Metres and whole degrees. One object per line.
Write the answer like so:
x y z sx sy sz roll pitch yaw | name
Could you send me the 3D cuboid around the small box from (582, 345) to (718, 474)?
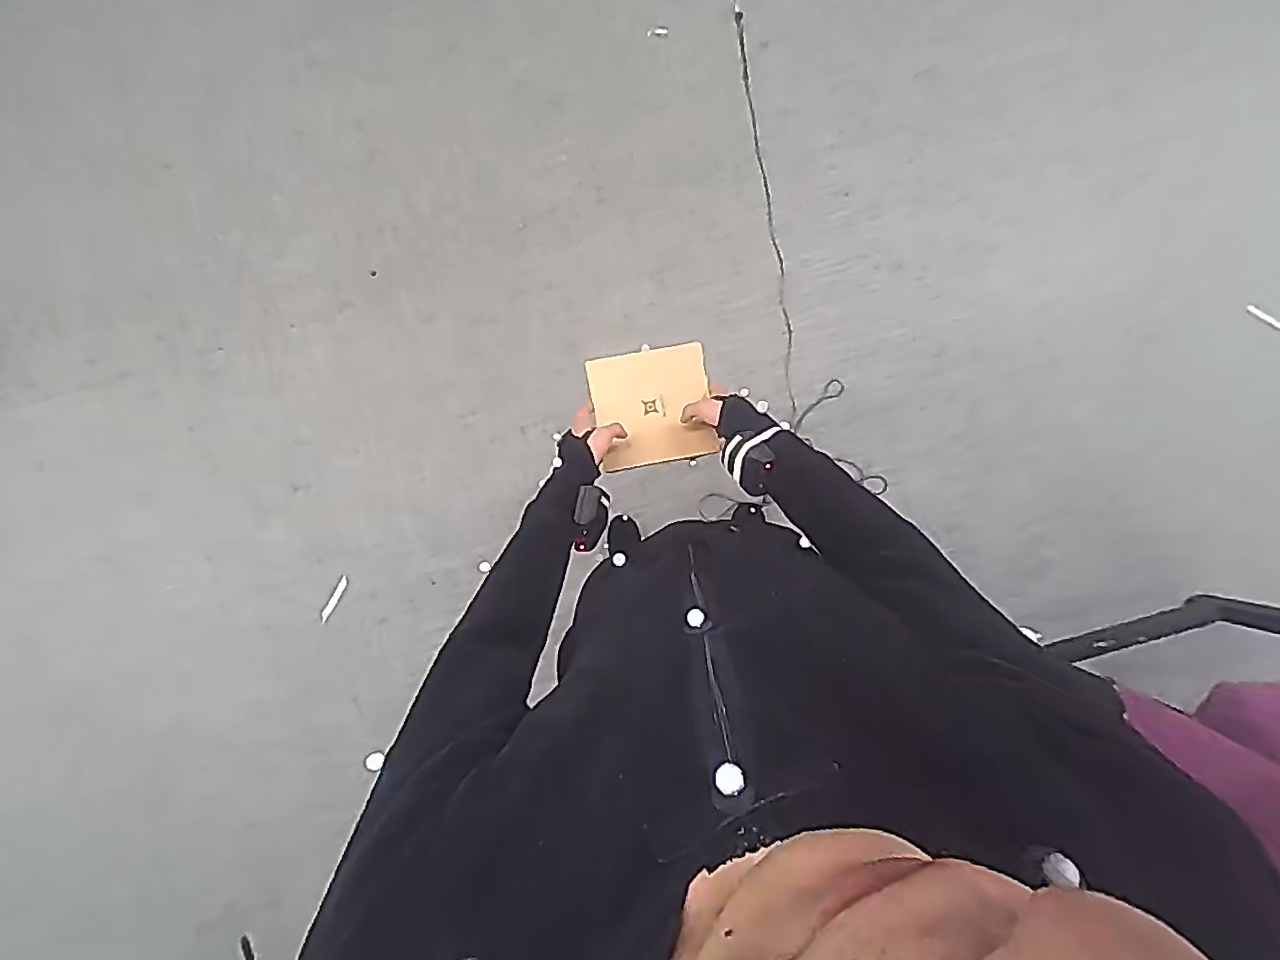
0.013 -0.102 0.864 0.179 0.176 0.168 -11 92 -3 | small box
